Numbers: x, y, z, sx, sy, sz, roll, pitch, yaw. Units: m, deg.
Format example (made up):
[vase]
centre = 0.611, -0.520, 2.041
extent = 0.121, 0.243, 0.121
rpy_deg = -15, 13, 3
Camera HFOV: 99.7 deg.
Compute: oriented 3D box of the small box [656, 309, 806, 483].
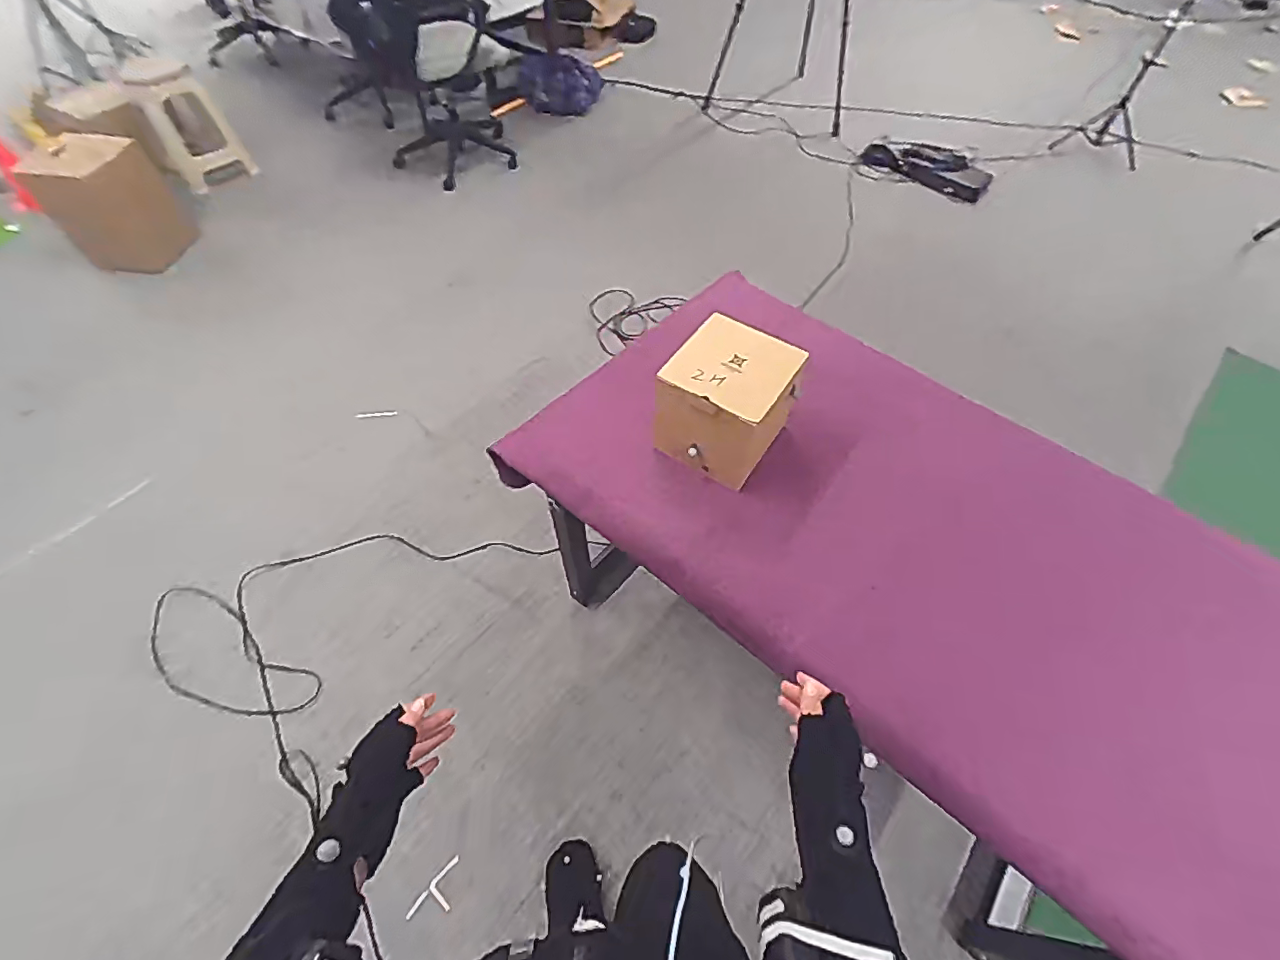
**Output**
[small box]
centre = 0.133, -0.131, 0.855
extent = 0.168, 0.176, 0.179
rpy_deg = 30, 61, 18
